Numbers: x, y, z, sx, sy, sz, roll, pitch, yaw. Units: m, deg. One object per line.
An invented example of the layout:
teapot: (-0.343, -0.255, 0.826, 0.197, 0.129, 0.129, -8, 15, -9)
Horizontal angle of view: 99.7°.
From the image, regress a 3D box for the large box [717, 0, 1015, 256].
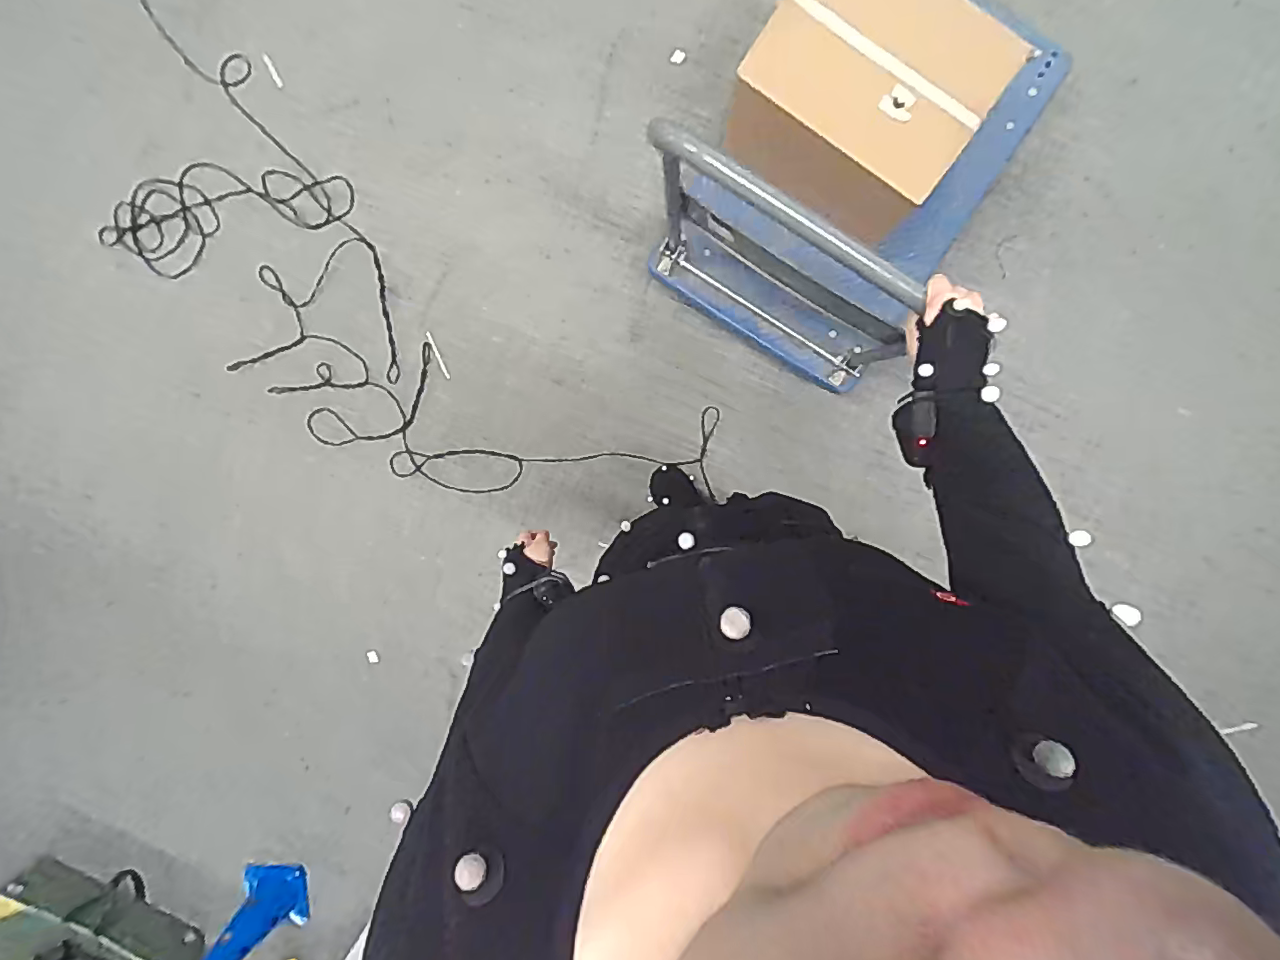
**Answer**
large box: (0.416, -0.742, 1.105, 0.408, 0.320, 0.320, 35, 96, -1)
